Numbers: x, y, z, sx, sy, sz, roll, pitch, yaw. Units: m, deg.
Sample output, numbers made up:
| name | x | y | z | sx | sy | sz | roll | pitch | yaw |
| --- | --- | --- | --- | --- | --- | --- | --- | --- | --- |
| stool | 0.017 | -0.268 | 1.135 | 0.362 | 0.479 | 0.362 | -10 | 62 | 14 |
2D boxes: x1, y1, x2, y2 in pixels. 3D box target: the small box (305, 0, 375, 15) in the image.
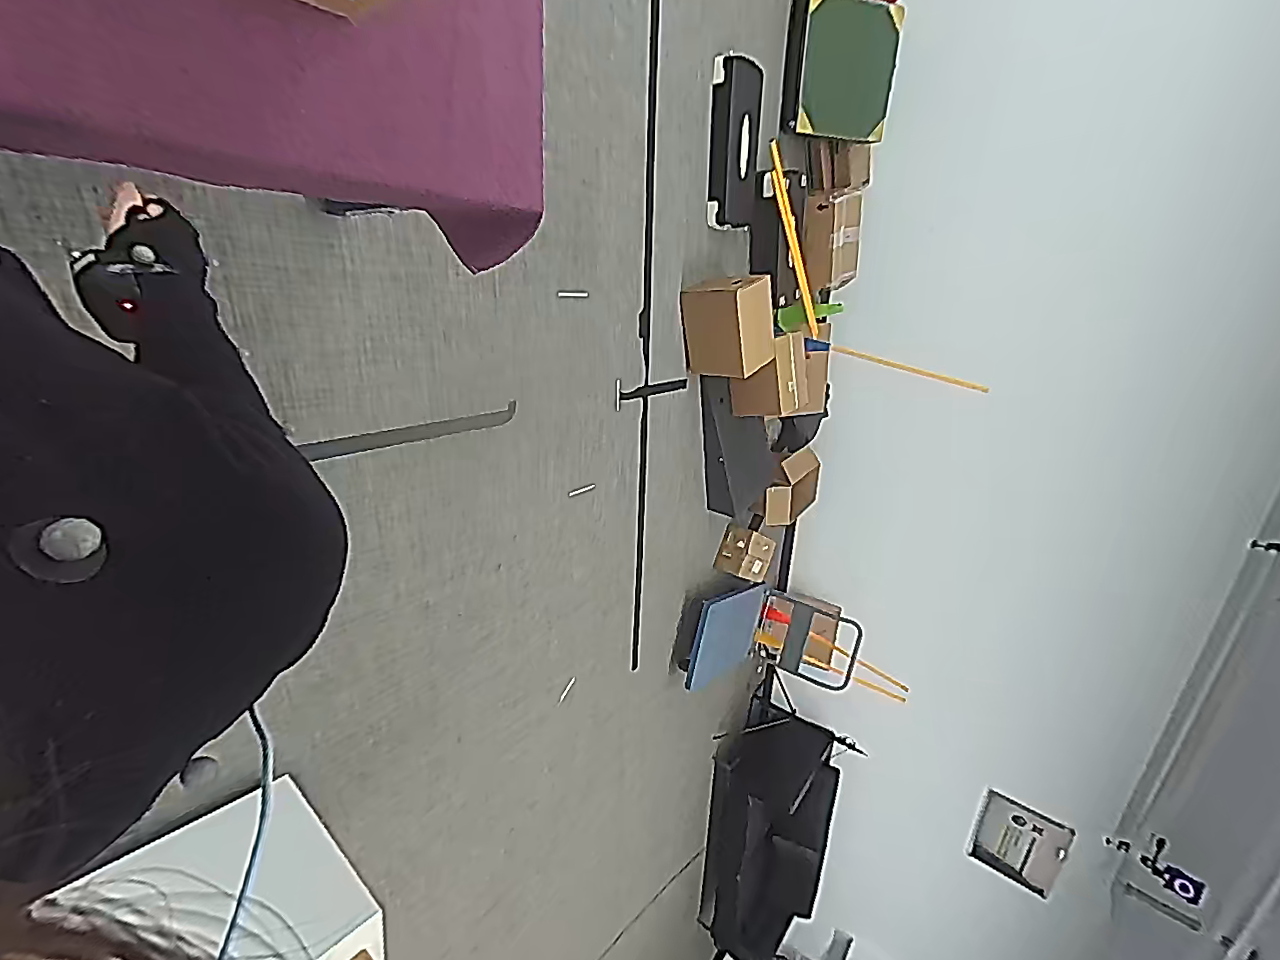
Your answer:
| name | x | y | z | sx | sy | sz | roll | pitch | yaw |
| --- | --- | --- | --- | --- | --- | --- | --- | --- | --- |
| small box | -0.343 | -0.606 | 0.532 | 0.168 | 0.176 | 0.179 | -22 | 121 | -48 |
